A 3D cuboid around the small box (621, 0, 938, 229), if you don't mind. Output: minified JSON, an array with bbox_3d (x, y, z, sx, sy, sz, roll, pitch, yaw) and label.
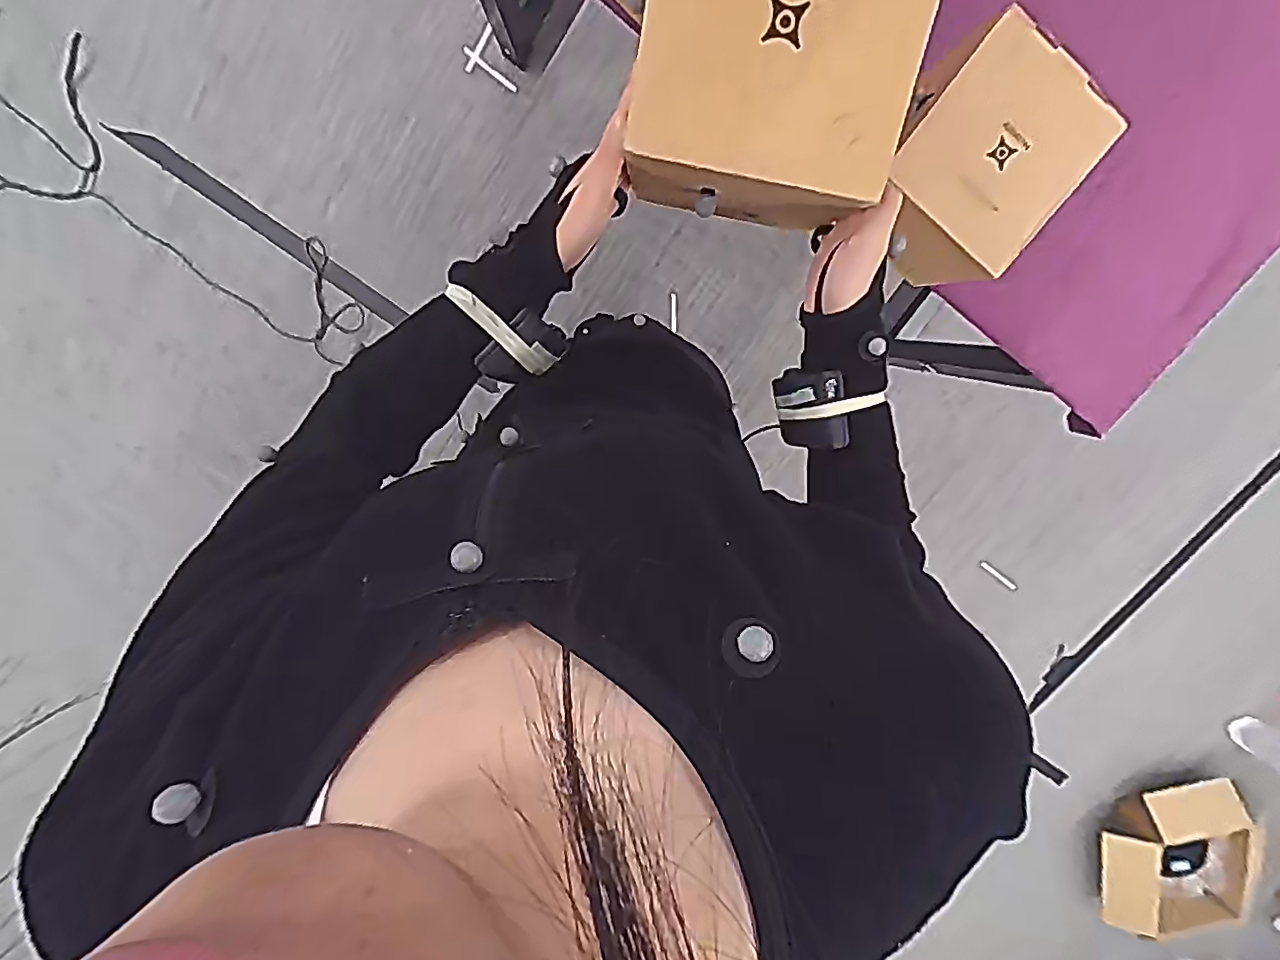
[{"bbox_3d":[0.088,-0.291,0.383,0.168,0.176,0.179,11,107,-1],"label":"small box"}]

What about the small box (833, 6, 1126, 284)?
[{"bbox_3d":[0.348,-0.339,0.594,0.168,0.176,0.179,35,103,-11],"label":"small box"}]
